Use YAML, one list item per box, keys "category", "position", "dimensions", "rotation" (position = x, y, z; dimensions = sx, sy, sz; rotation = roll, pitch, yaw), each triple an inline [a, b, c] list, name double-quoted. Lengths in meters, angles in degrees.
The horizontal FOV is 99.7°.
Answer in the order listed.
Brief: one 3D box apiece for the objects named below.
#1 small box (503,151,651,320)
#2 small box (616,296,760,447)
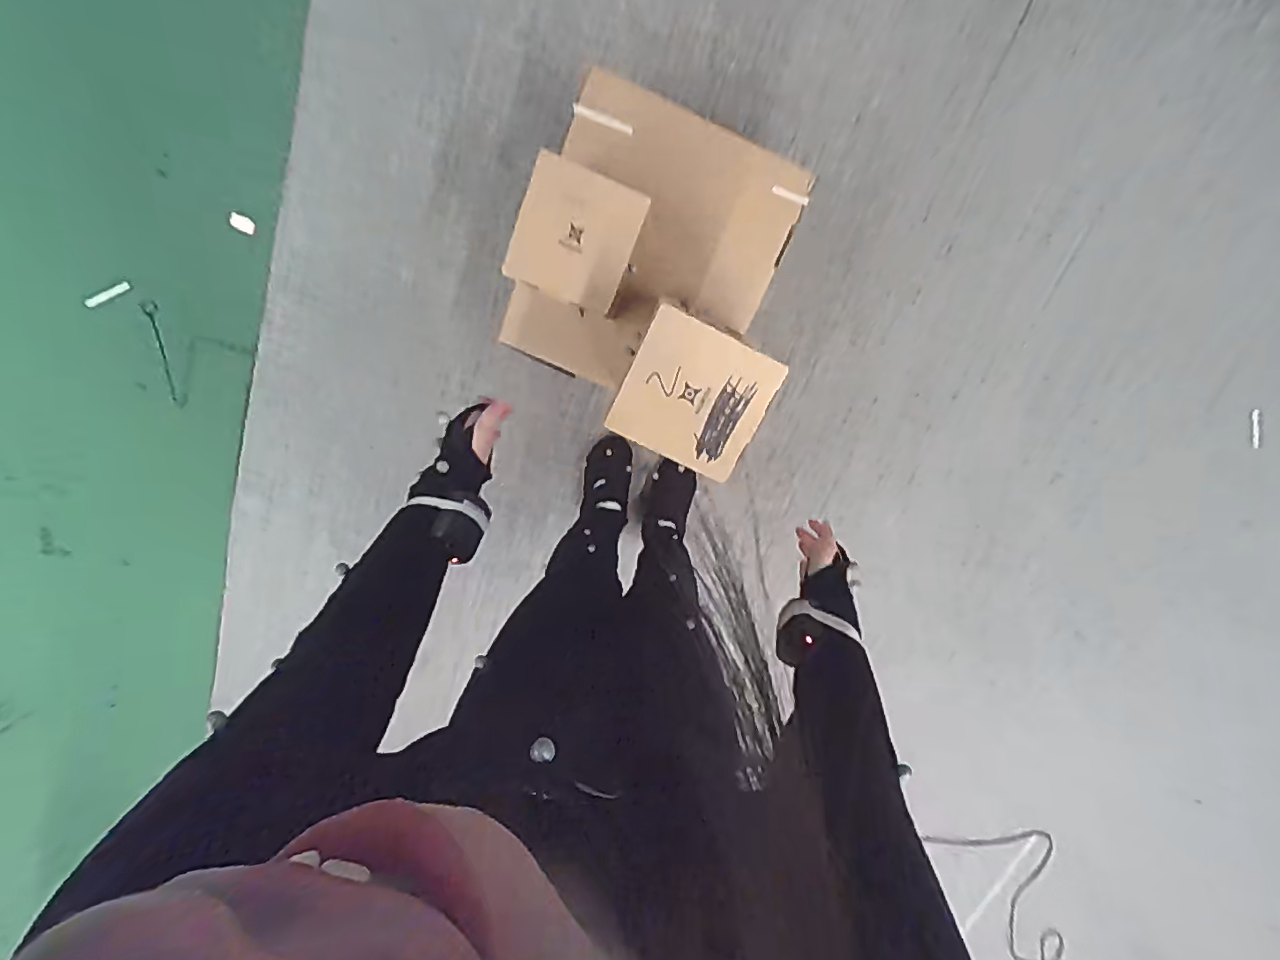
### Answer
- category: "small box"
  position: [-0.089, -0.362, 0.840]
  dimensions: [0.168, 0.176, 0.179]
  rotation: [23, 104, -6]
- category: "small box"
  position: [0.069, -0.181, 0.888]
  dimensions: [0.168, 0.176, 0.179]
  rotation: [25, 104, -7]
